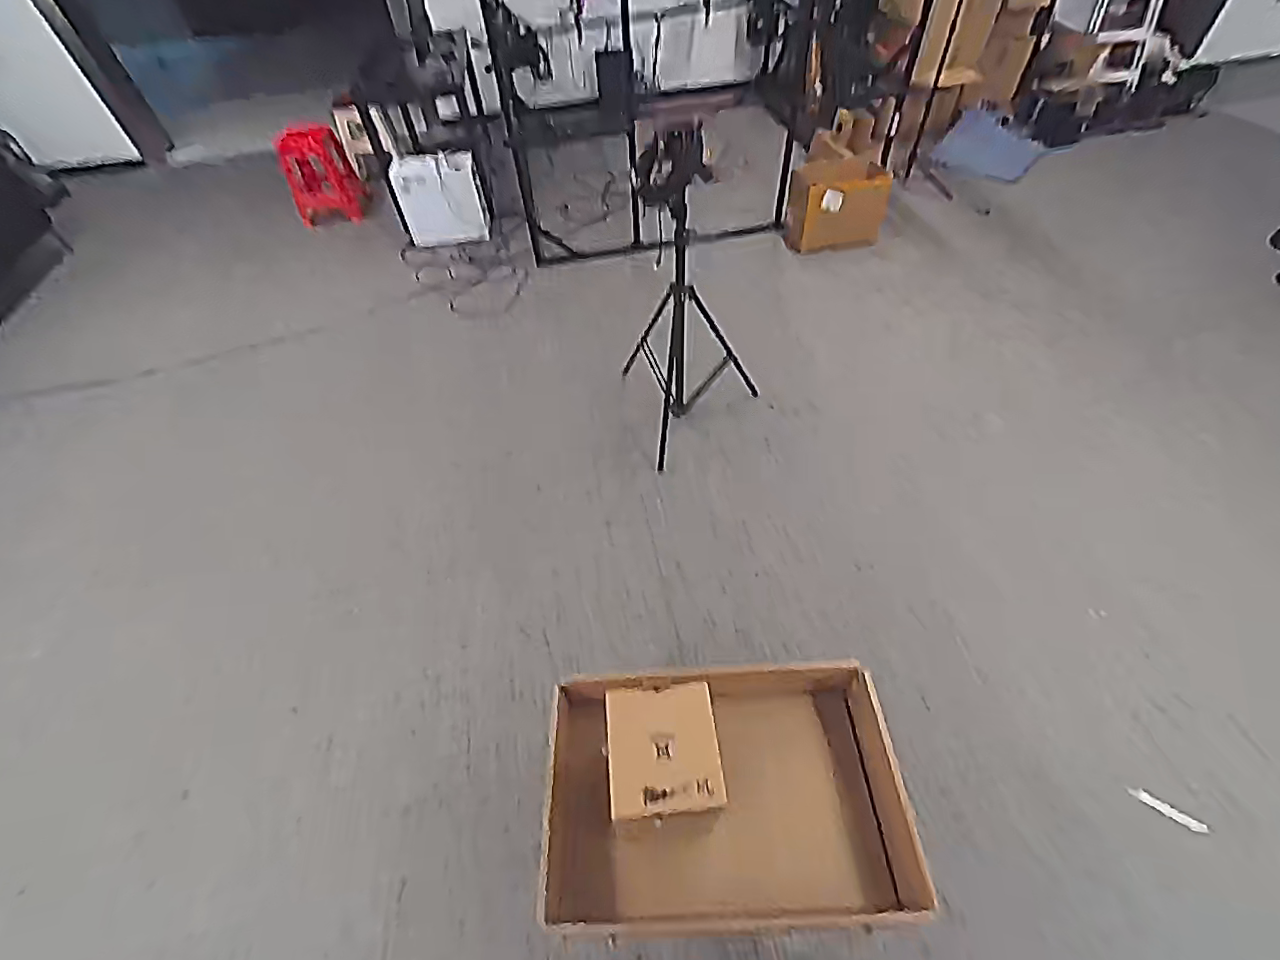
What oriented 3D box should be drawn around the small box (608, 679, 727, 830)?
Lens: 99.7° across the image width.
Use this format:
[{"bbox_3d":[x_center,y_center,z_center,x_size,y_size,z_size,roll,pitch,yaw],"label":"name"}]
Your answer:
[{"bbox_3d":[0.036,0.441,0.867,0.168,0.176,0.179,-5,50,-2],"label":"small box"}]
